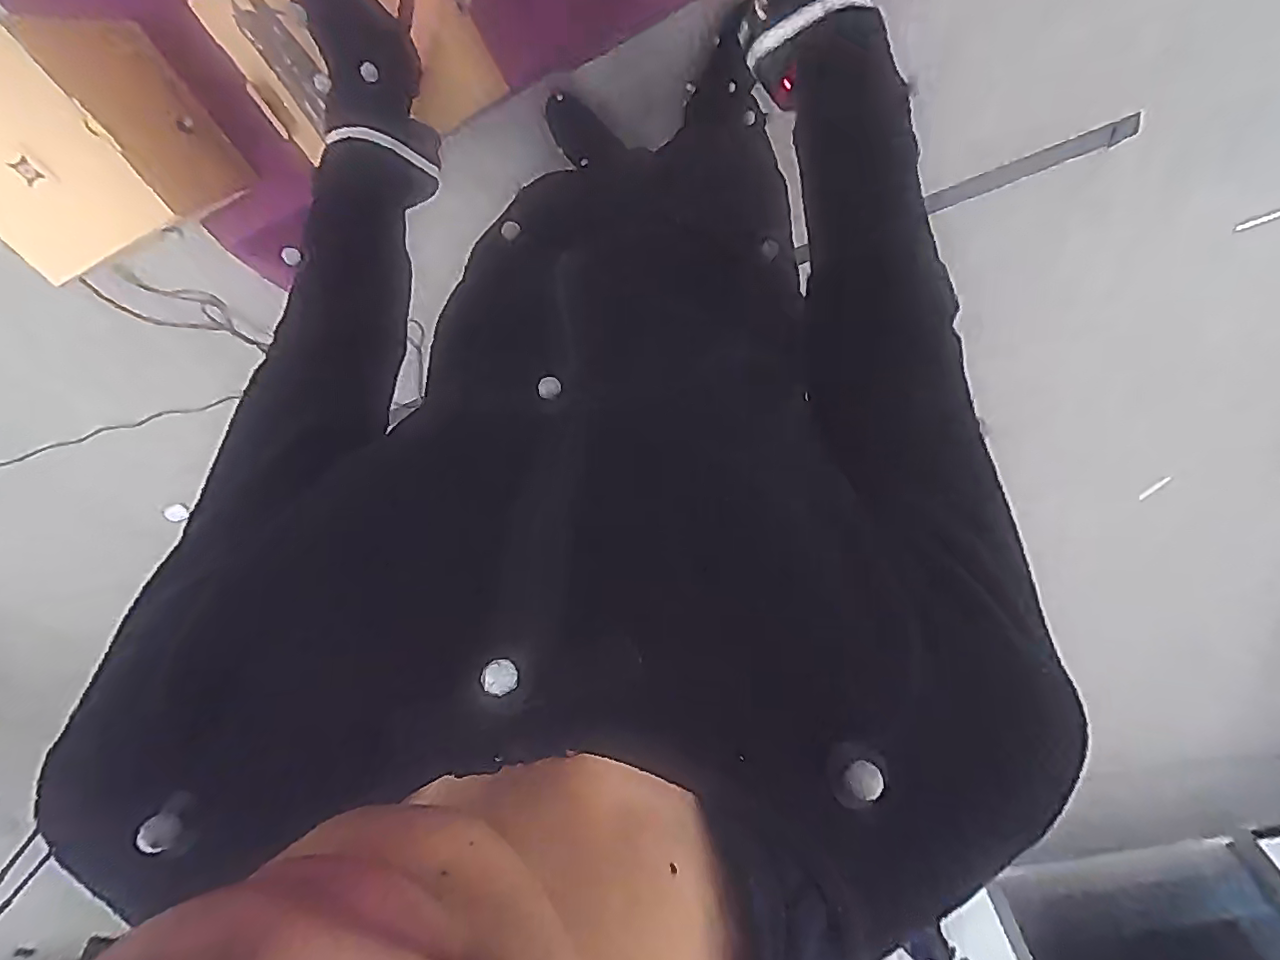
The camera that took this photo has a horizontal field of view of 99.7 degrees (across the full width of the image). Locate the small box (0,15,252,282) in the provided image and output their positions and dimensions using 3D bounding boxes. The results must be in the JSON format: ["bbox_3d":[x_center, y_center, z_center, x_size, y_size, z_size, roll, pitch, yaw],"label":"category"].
[{"bbox_3d":[-0.564,-0.340,0.563,0.179,0.176,0.168,-21,128,12],"label":"small box"}]
